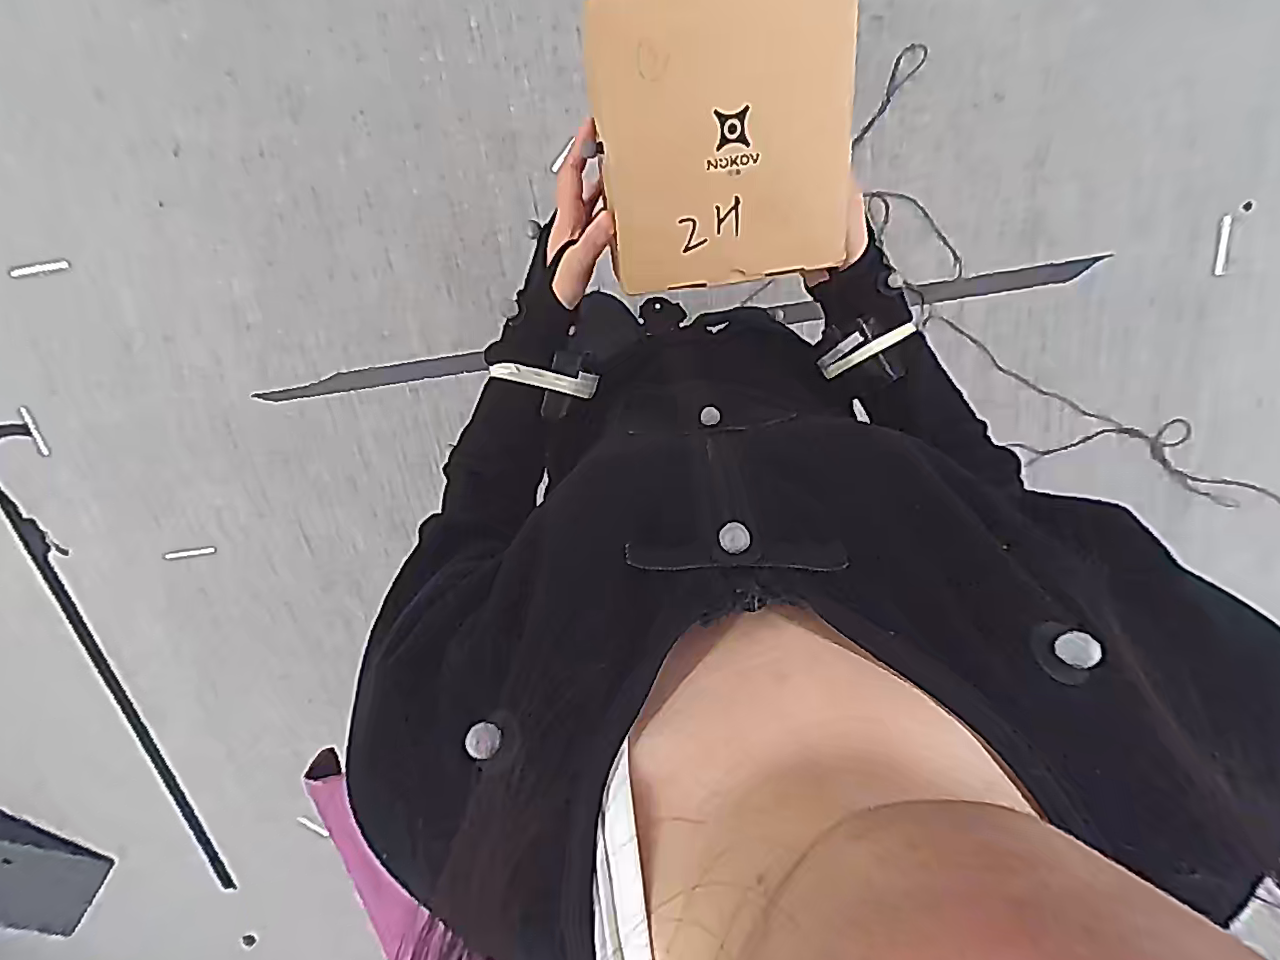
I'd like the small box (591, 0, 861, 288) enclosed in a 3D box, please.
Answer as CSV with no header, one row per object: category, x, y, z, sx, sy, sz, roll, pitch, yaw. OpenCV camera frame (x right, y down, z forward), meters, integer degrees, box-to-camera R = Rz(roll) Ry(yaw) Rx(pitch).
small box,0.054,-0.262,0.429,0.168,0.176,0.179,-9,118,-2
